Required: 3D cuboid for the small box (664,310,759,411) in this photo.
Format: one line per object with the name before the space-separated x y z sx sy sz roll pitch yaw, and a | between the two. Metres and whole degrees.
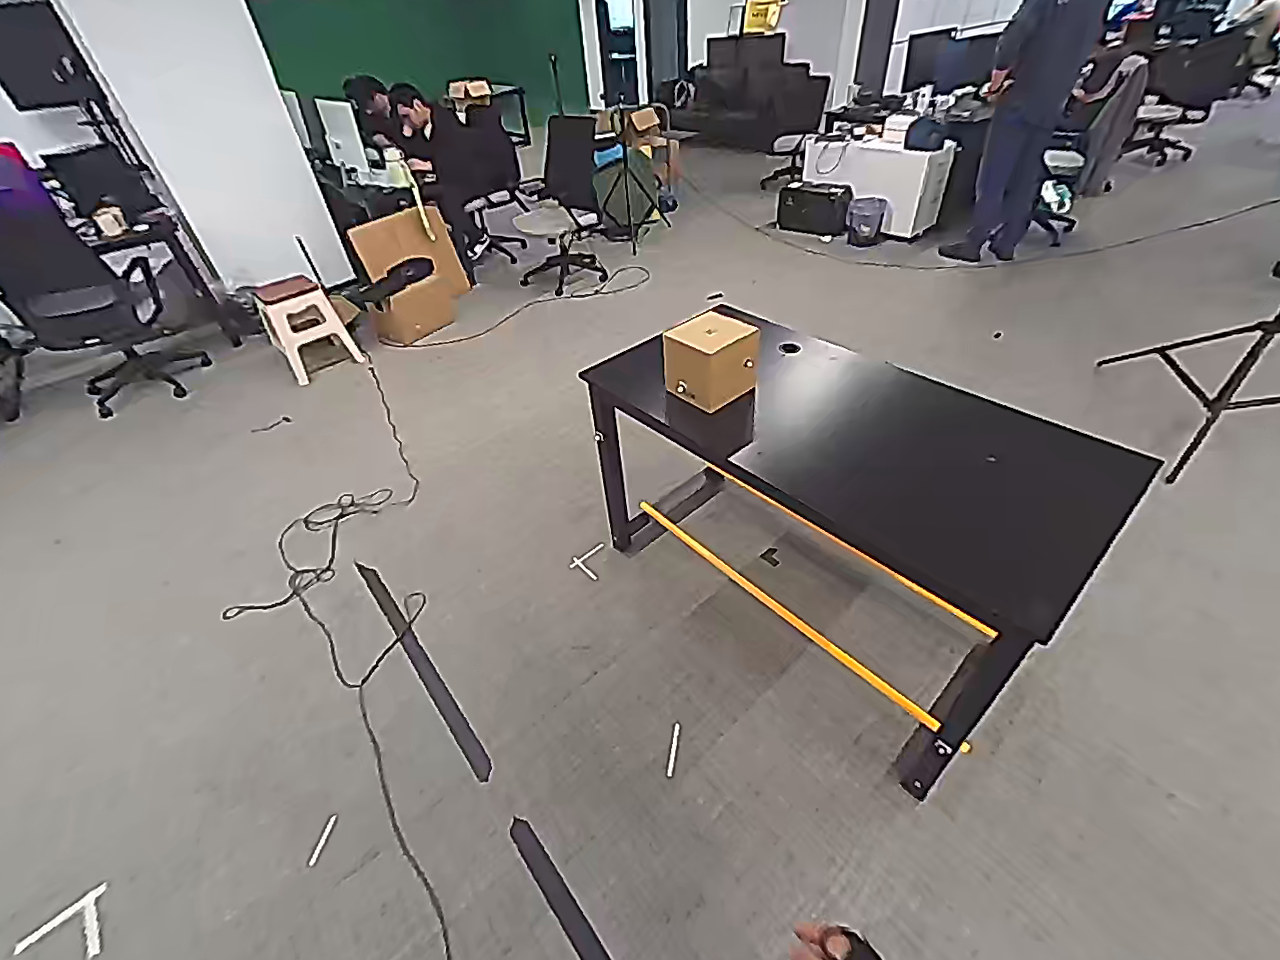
small box | 0.178 -0.303 1.368 0.179 0.176 0.168 -33 47 -27
